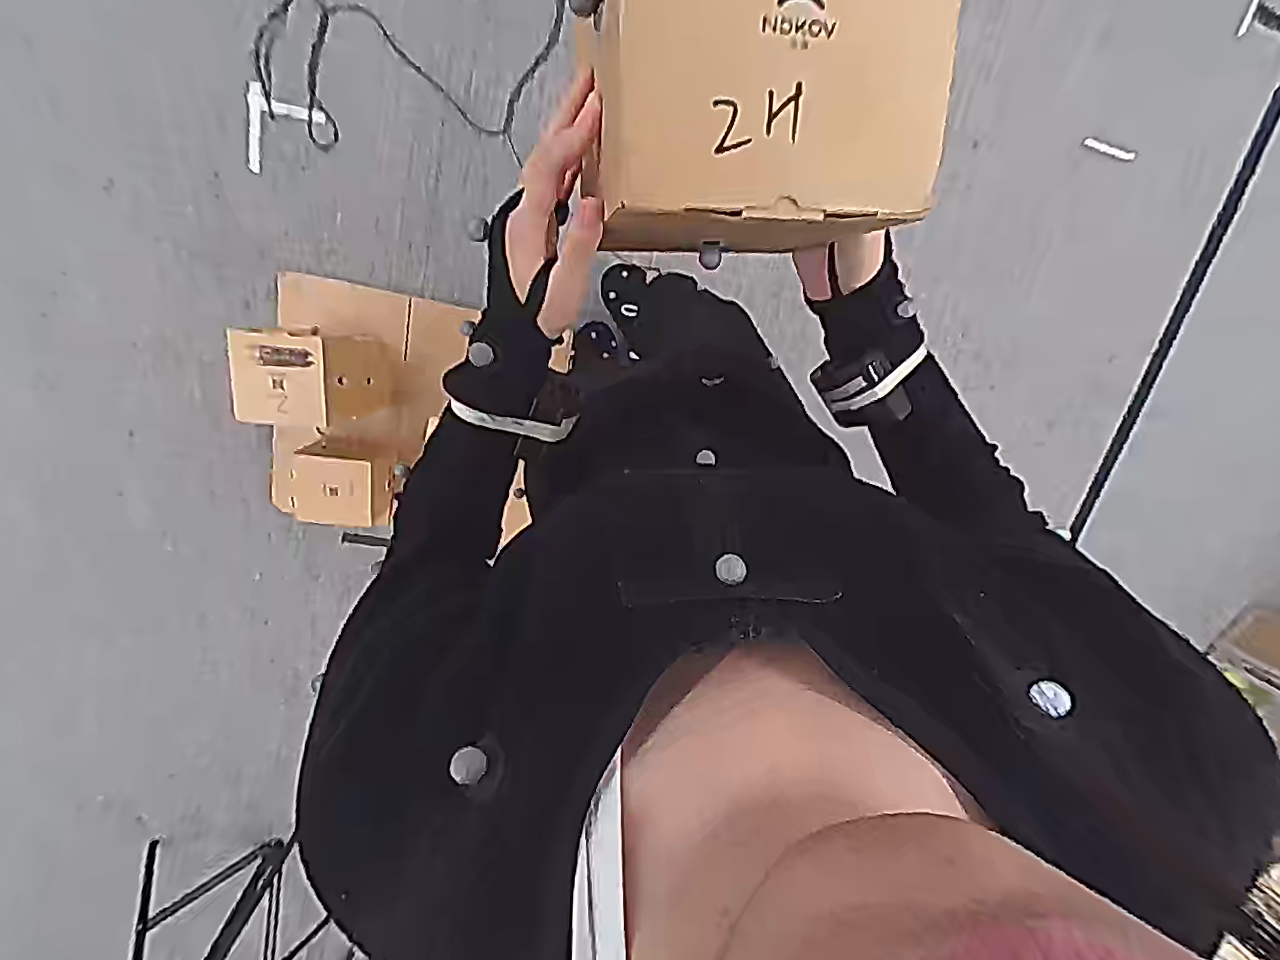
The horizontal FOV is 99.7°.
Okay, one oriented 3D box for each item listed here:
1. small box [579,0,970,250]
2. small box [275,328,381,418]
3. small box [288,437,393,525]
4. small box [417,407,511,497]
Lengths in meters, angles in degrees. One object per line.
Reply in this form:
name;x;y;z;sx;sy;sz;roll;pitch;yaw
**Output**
small box;0.056;-0.239;0.310;0.168;0.176;0.179;-4;107;-11
small box;-0.711;-0.251;1.247;0.168;0.176;0.179;6;106;-9
small box;-0.724;-0.003;1.322;0.179;0.176;0.168;4;108;-9
small box;-0.427;-0.076;1.335;0.179;0.176;0.168;13;104;-12
